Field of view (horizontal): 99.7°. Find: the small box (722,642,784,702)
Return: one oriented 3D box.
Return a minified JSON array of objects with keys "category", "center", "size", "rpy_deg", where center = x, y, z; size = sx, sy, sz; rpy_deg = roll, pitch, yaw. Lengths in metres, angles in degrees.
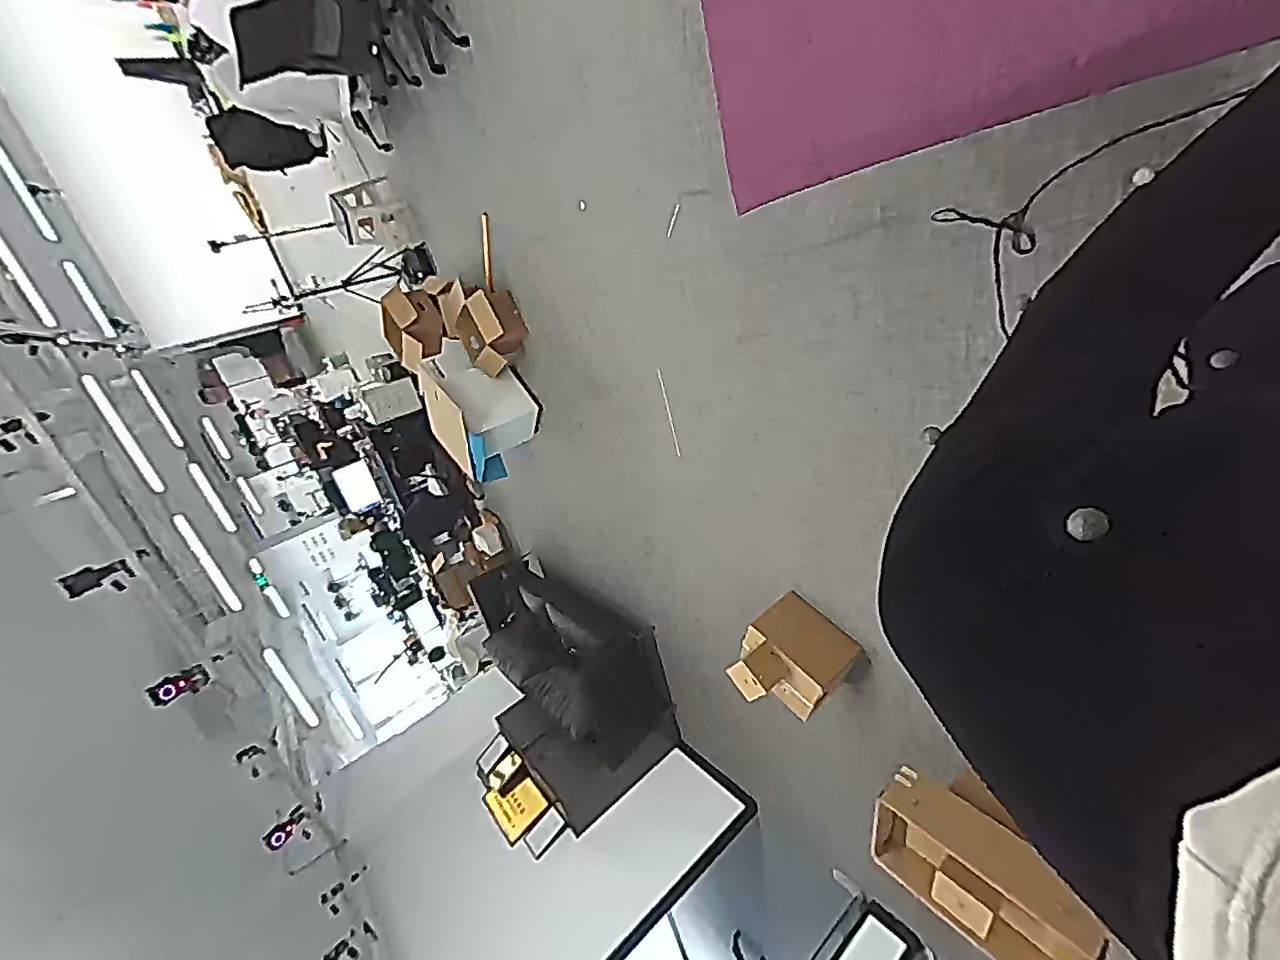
[{"category":"small box","center":[0.500,0.845,2.384],"size":[0.168,0.176,0.179],"rpy_deg":[51,147,17]}]

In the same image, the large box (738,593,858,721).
[{"category":"large box","center":[0.719,0.808,2.512],"size":[0.408,0.320,0.320],"rpy_deg":[38,143,33]}]
